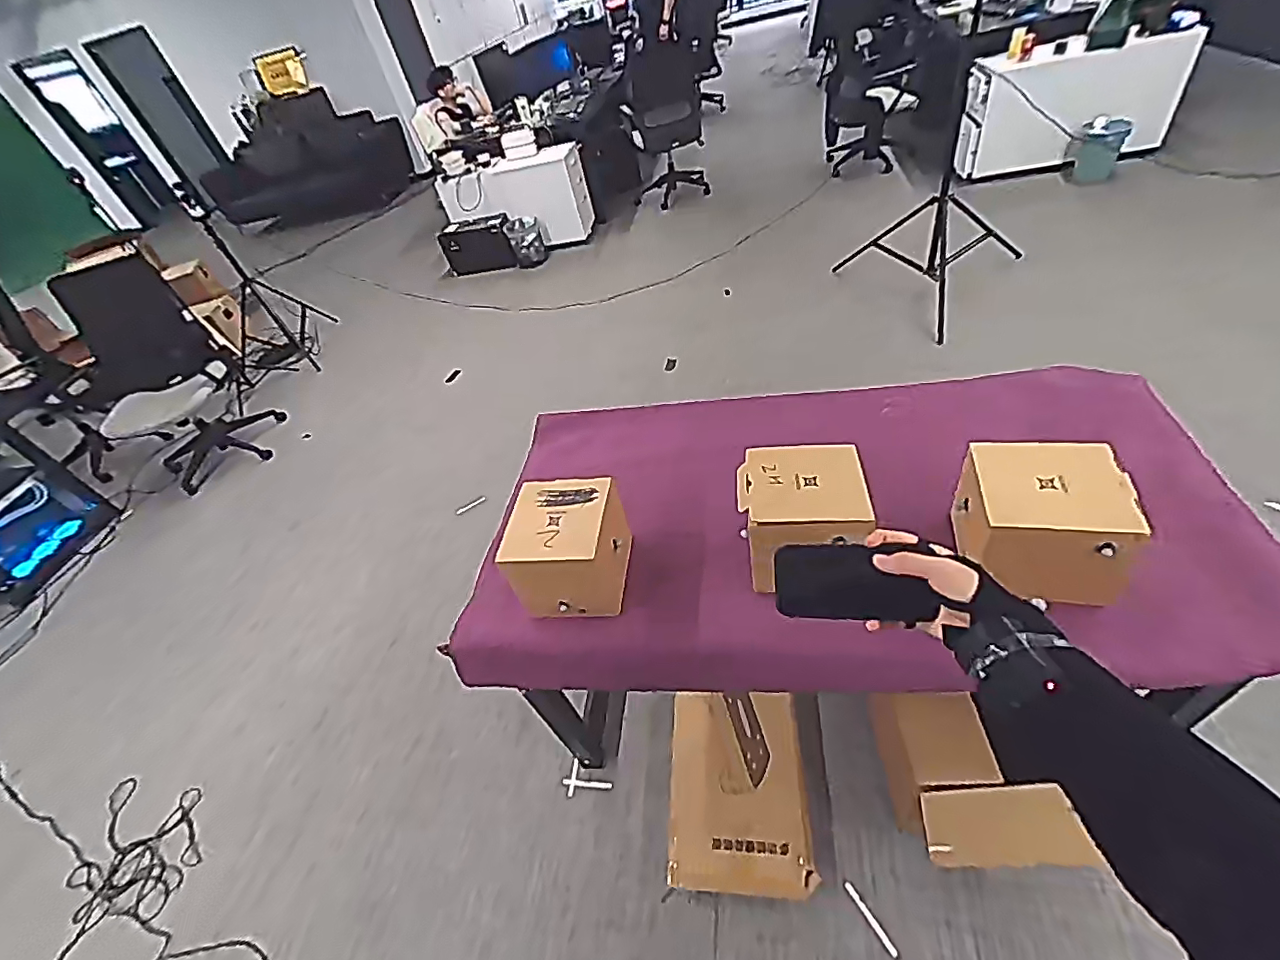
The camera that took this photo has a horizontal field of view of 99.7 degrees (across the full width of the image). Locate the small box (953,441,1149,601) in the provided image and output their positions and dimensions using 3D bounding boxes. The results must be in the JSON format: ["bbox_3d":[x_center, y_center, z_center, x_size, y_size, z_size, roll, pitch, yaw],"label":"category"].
[{"bbox_3d":[0.571,0.060,0.787,0.179,0.176,0.168,1,46,17],"label":"small box"}]

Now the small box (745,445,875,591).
[{"bbox_3d":[0.264,0.065,0.872,0.179,0.176,0.168,-4,42,13],"label":"small box"}]
